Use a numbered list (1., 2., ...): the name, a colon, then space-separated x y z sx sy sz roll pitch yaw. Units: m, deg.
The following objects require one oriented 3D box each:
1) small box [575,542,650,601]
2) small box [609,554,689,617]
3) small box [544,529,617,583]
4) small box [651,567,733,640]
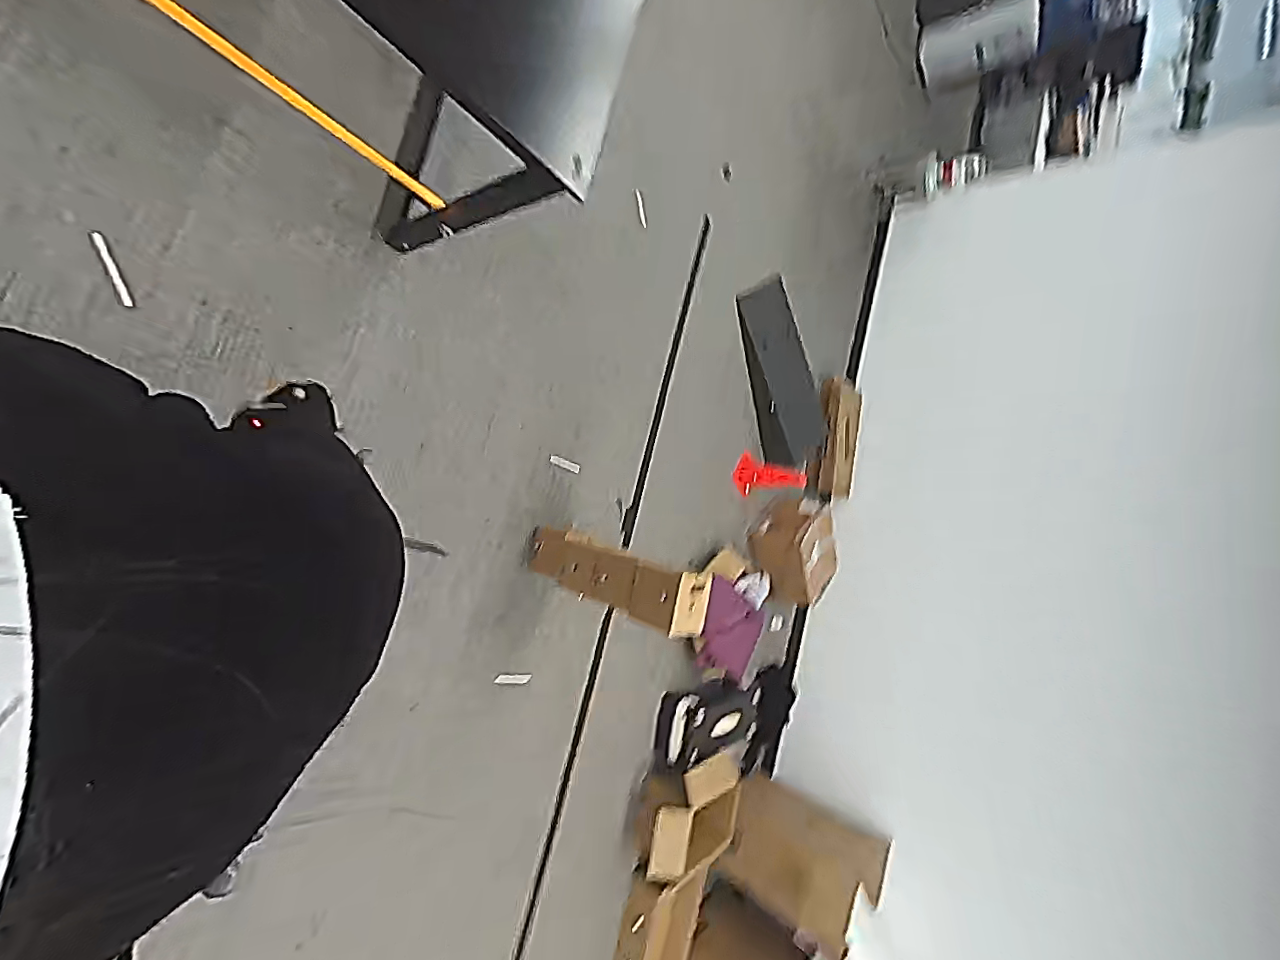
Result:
1. small box: -0.095 0.307 1.823 0.179 0.176 0.168 11 87 -49
2. small box: 0.030 0.335 1.718 0.179 0.176 0.168 19 81 -49
3. small box: -0.214 0.271 1.932 0.179 0.176 0.168 13 86 -48
4. small box: 0.153 0.362 1.612 0.168 0.176 0.179 14 87 -50
